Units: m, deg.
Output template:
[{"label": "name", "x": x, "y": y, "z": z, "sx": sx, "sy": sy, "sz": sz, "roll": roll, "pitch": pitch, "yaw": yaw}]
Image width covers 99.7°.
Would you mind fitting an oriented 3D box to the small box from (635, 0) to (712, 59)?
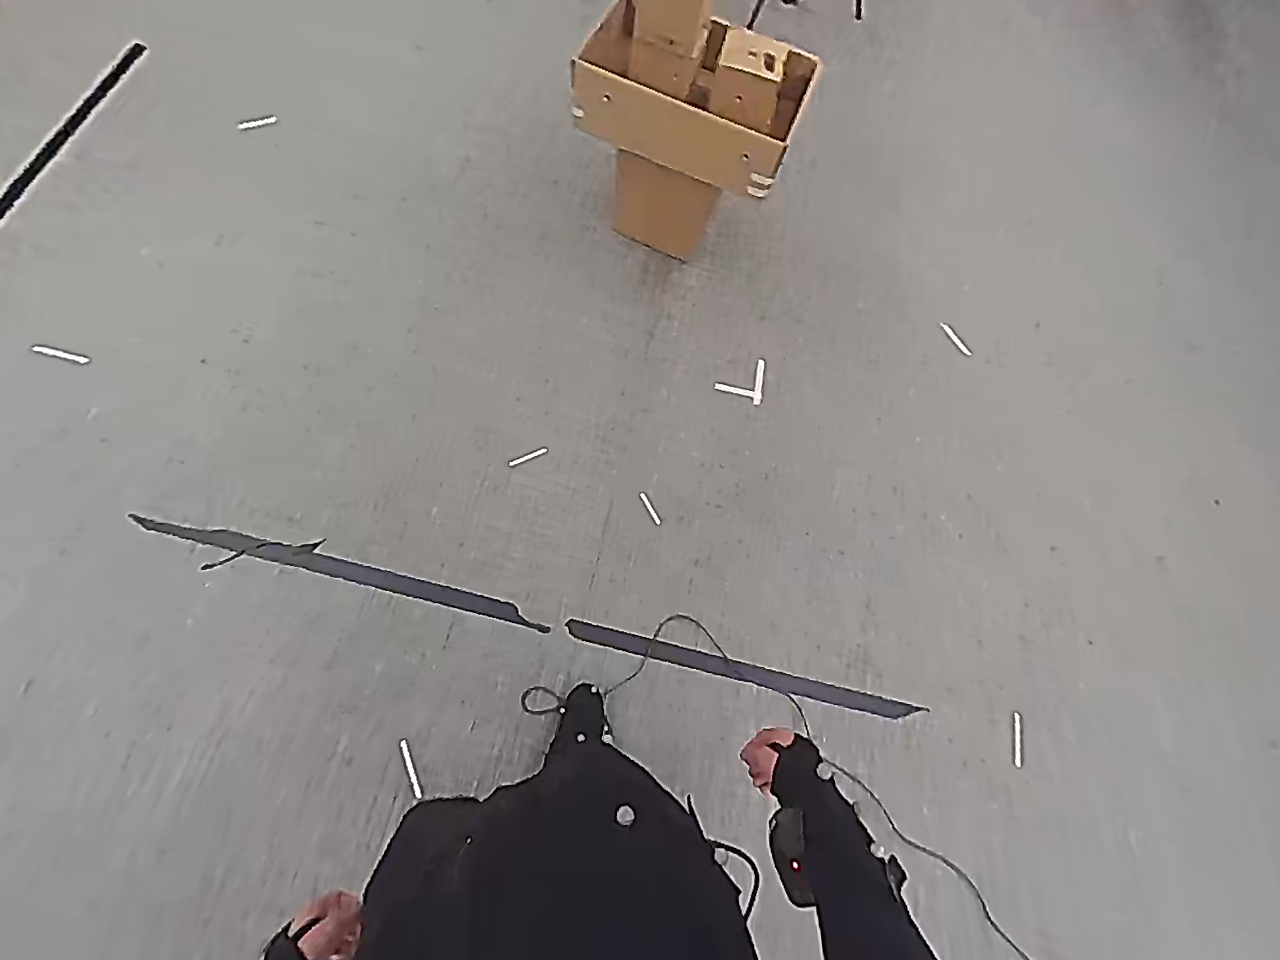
[{"label": "small box", "x": 0.094, "y": -1.236, "z": 1.381, "sx": 0.168, "sy": 0.176, "sz": 0.179, "roll": 20, "pitch": 68, "yaw": -1}]
